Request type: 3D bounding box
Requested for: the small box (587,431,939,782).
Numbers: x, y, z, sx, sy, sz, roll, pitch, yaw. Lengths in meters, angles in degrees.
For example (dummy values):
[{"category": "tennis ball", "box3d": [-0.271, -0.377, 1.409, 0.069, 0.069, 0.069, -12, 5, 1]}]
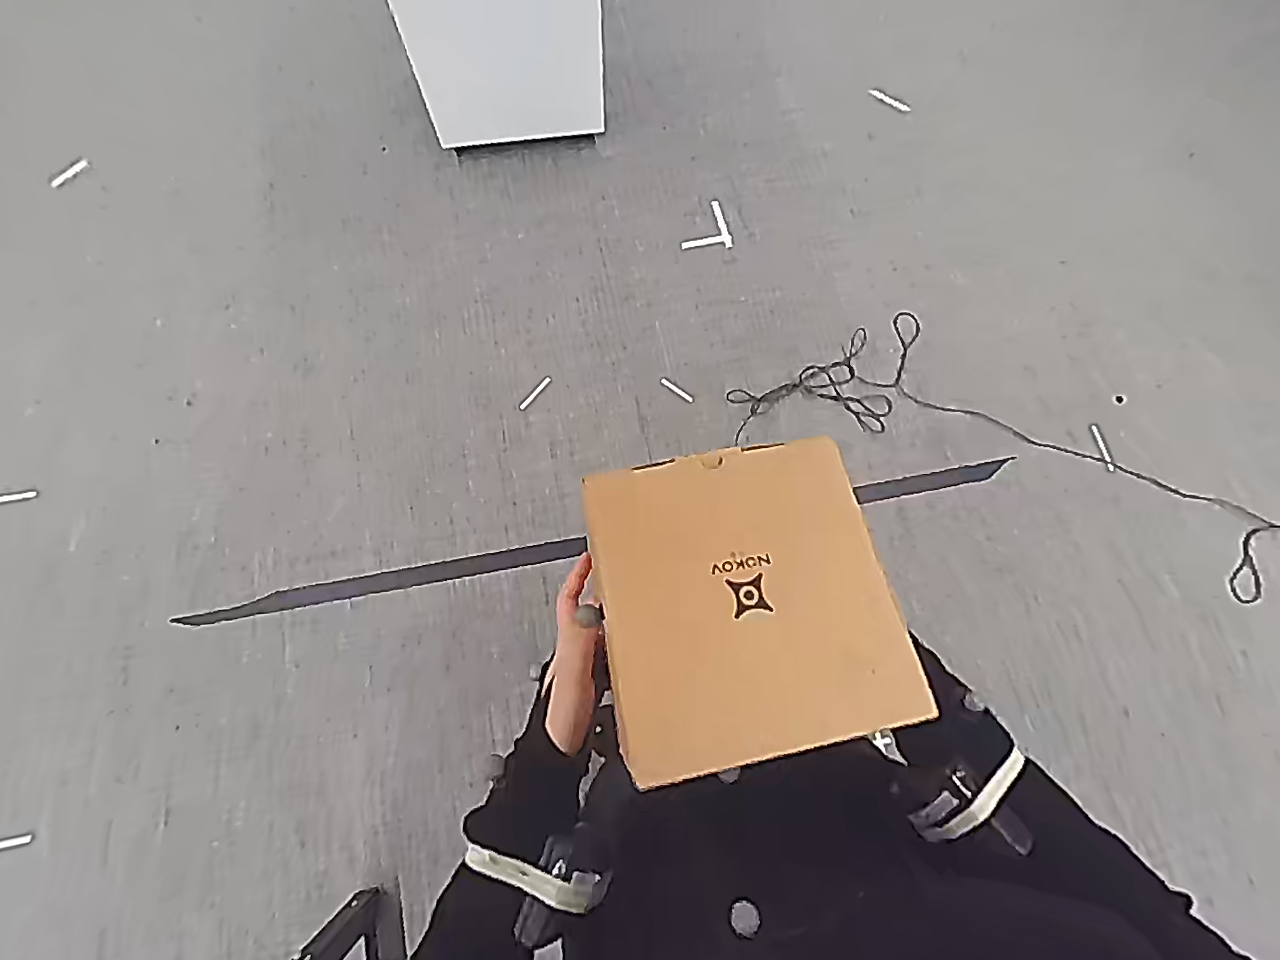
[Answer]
[{"category": "small box", "box3d": [0.060, 0.090, 0.380, 0.168, 0.176, 0.179, -9, 66, -8]}]
